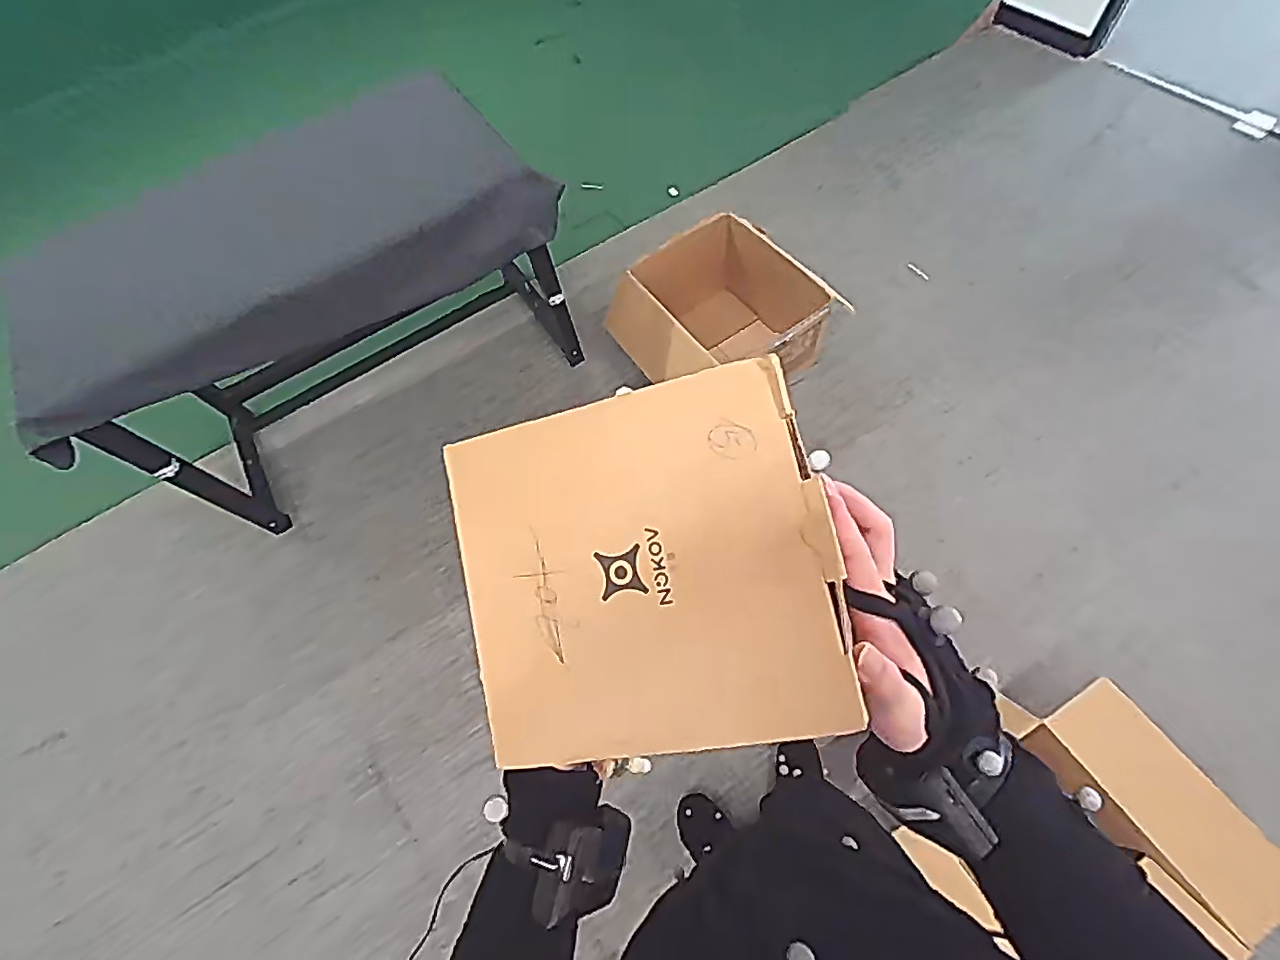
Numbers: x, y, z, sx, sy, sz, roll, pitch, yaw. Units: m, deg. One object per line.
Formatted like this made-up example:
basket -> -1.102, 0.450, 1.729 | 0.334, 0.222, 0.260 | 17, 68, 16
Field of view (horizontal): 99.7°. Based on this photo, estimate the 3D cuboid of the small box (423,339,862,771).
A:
small box -> 0.011, 0.042, 0.313 | 0.179, 0.176, 0.168 | -14, 82, 16
